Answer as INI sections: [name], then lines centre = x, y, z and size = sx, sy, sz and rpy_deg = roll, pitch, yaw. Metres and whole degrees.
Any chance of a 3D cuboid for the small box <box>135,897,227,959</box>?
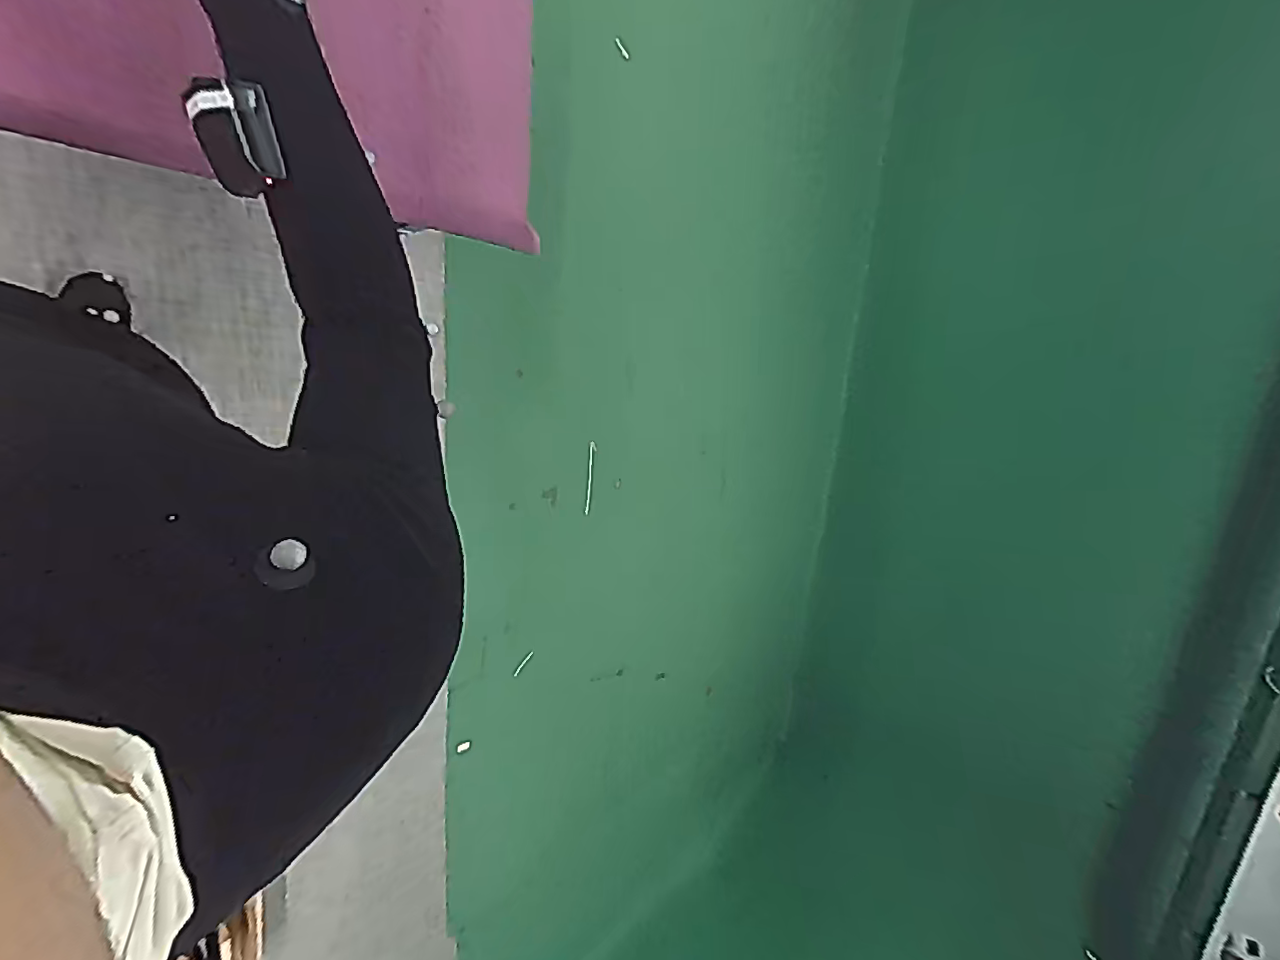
[small box]
centre = -1.205, 1.263, 1.419
size = 0.168, 0.176, 0.179
rpy_deg = -5, 106, -48
